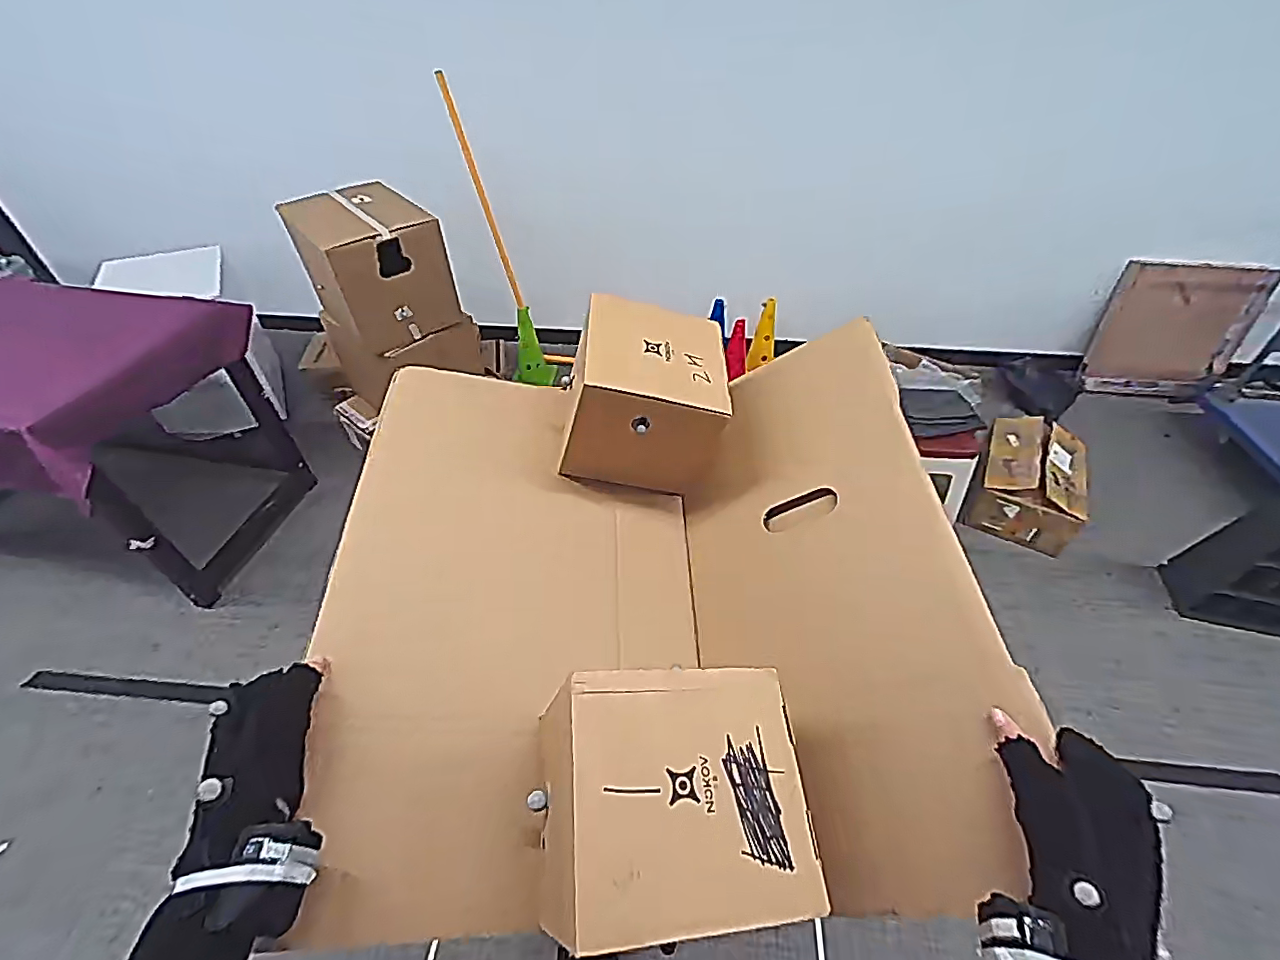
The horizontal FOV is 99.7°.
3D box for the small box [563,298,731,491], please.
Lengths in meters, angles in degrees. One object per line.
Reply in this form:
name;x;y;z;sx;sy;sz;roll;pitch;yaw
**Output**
small box;0.001;-0.103;0.709;0.179;0.176;0.168;11;53;-13
